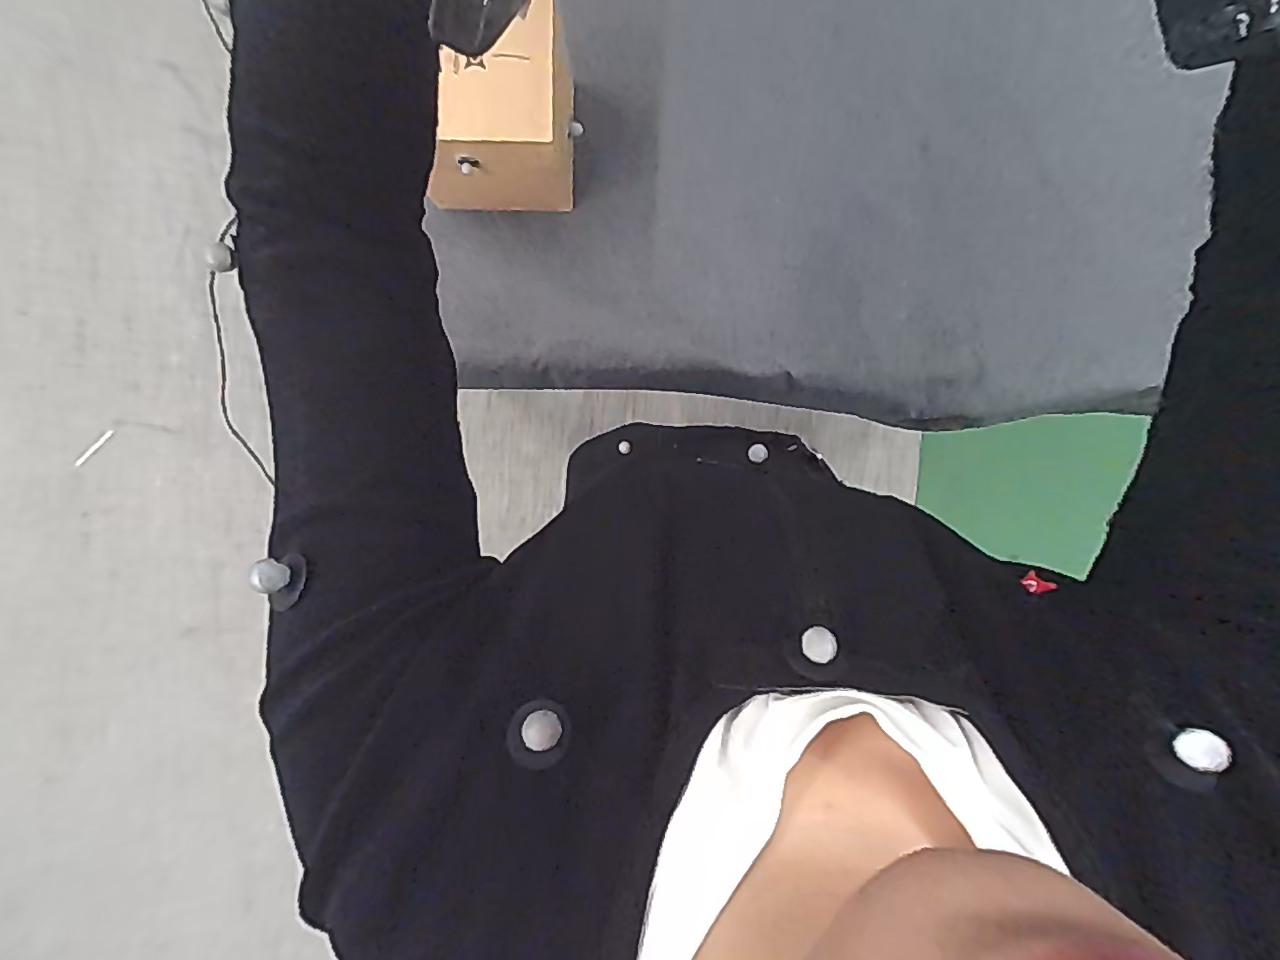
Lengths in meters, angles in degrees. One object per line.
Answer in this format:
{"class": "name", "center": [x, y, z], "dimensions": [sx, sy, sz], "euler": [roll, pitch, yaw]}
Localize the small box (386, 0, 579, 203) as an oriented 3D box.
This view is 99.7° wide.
{"class": "small box", "center": [-0.168, -0.438, 0.621], "dimensions": [0.179, 0.176, 0.168], "euler": [1, 95, -1]}
